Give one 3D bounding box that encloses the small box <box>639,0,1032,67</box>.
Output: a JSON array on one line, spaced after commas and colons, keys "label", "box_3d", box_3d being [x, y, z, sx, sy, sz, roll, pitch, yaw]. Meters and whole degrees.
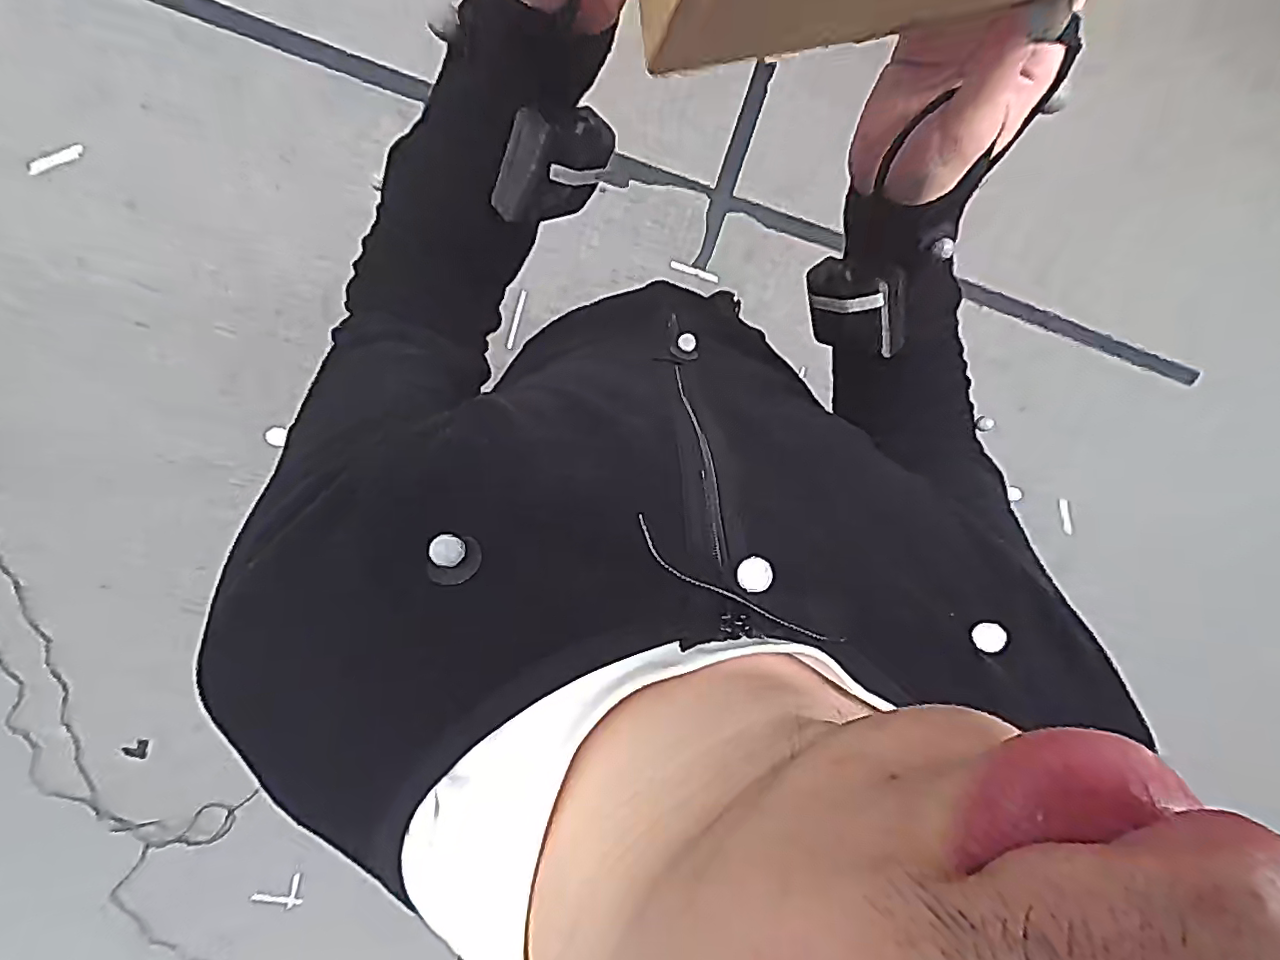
[{"label": "small box", "box_3d": [0.073, -0.227, 0.135, 0.168, 0.176, 0.179, -9, 121, 4]}]
